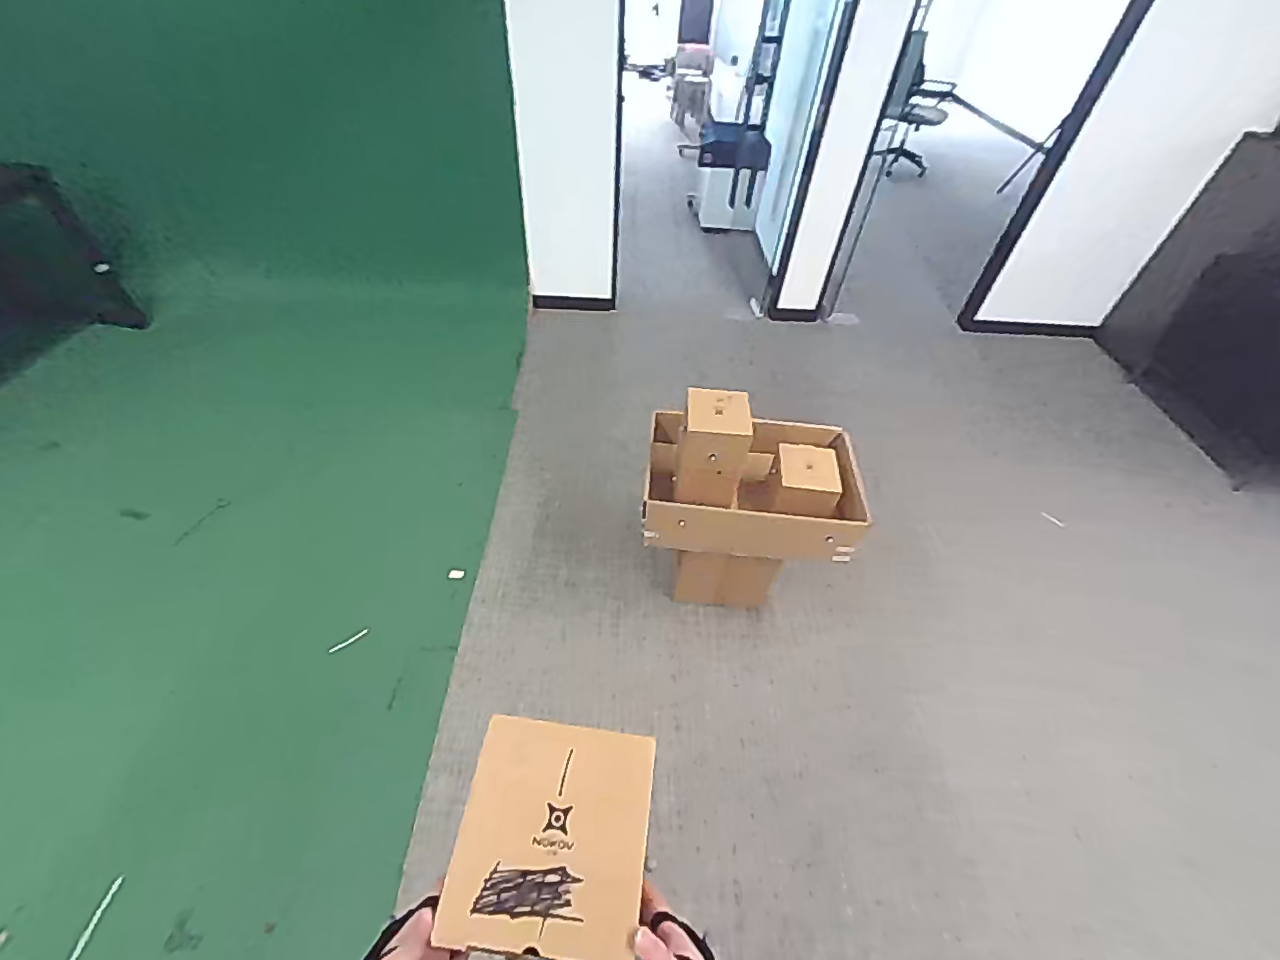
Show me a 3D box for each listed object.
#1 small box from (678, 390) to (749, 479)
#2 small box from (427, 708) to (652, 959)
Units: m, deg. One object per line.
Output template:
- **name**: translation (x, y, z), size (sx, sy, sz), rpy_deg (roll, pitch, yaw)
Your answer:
- **small box**: translation (0.197, -0.121, 1.472), size (0.168, 0.176, 0.179), rpy_deg (5, 48, -1)
- **small box**: translation (-0.084, 0.353, 0.542), size (0.168, 0.176, 0.179), rpy_deg (8, 52, 2)
